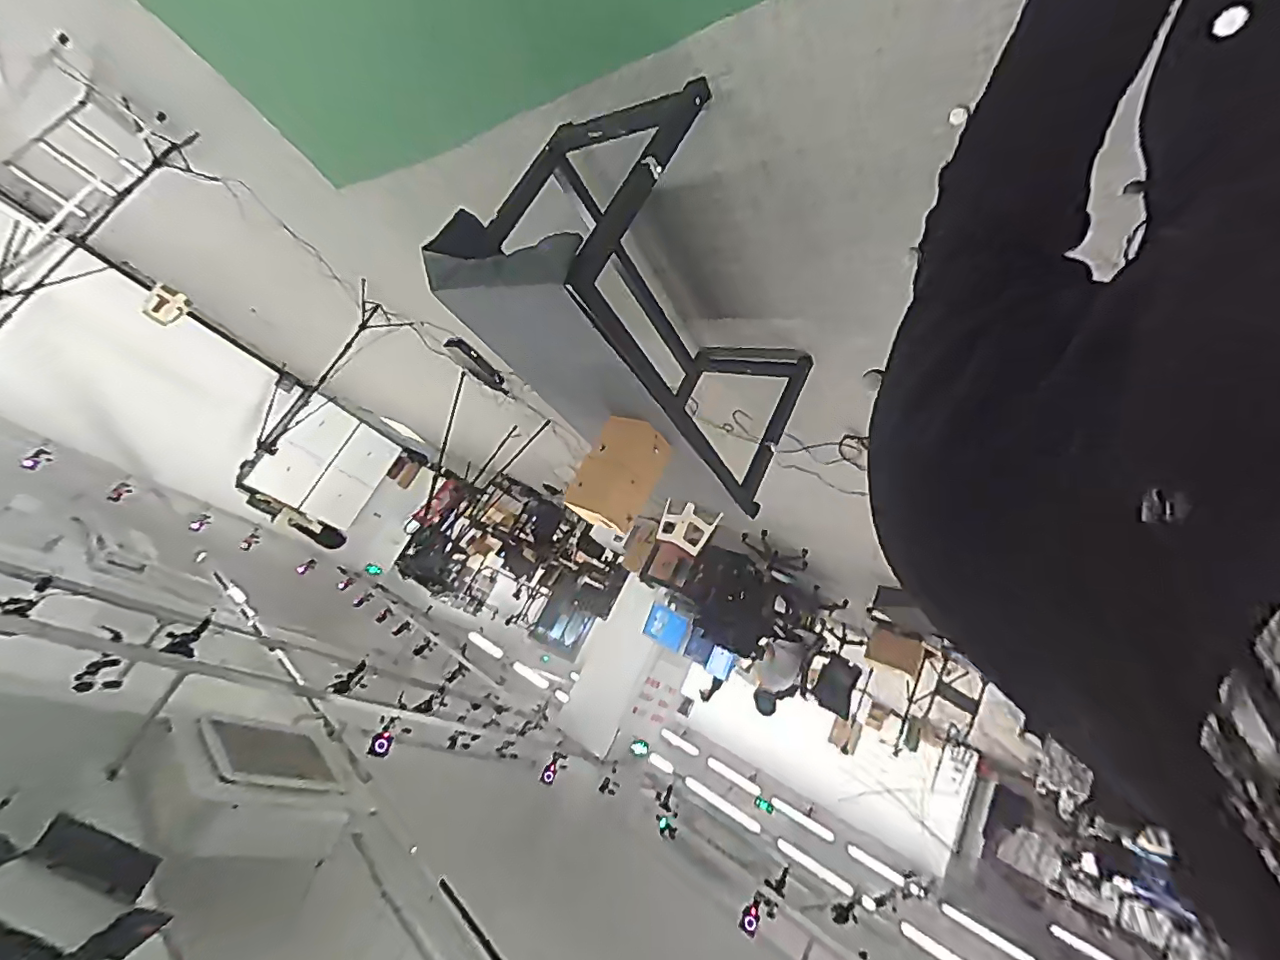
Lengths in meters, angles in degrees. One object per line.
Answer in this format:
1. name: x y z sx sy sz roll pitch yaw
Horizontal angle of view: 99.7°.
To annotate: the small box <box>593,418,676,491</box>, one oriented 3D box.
1. small box: -0.015 -0.087 1.767 0.179 0.176 0.168 13 160 41
